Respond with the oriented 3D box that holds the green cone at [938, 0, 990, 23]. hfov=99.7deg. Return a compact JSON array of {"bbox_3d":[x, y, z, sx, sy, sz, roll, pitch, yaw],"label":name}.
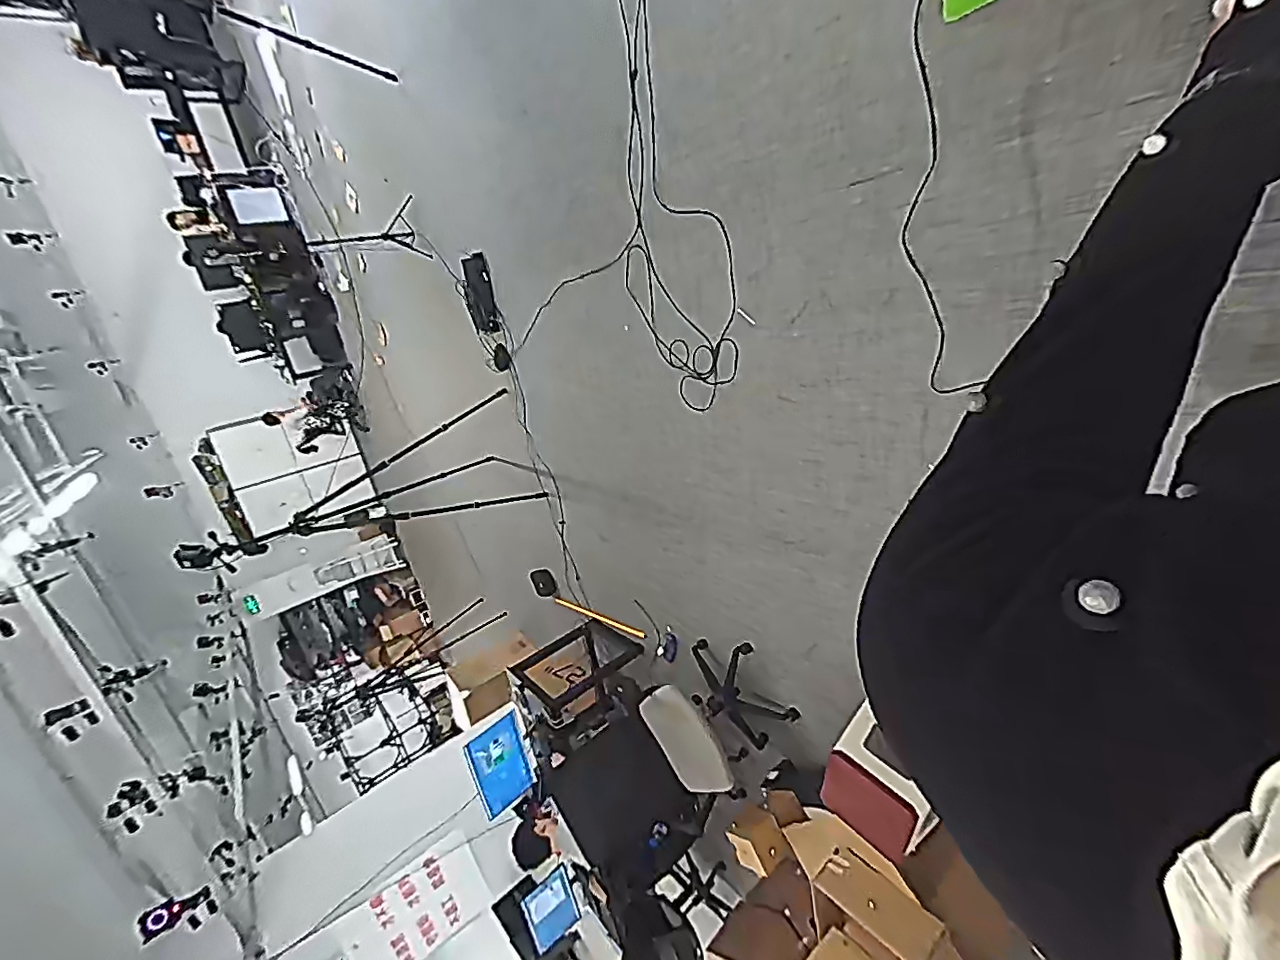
[{"bbox_3d":[0.599,-1.074,1.055,0.202,0.368,0.200,10,118,53],"label":"green cone"}]
